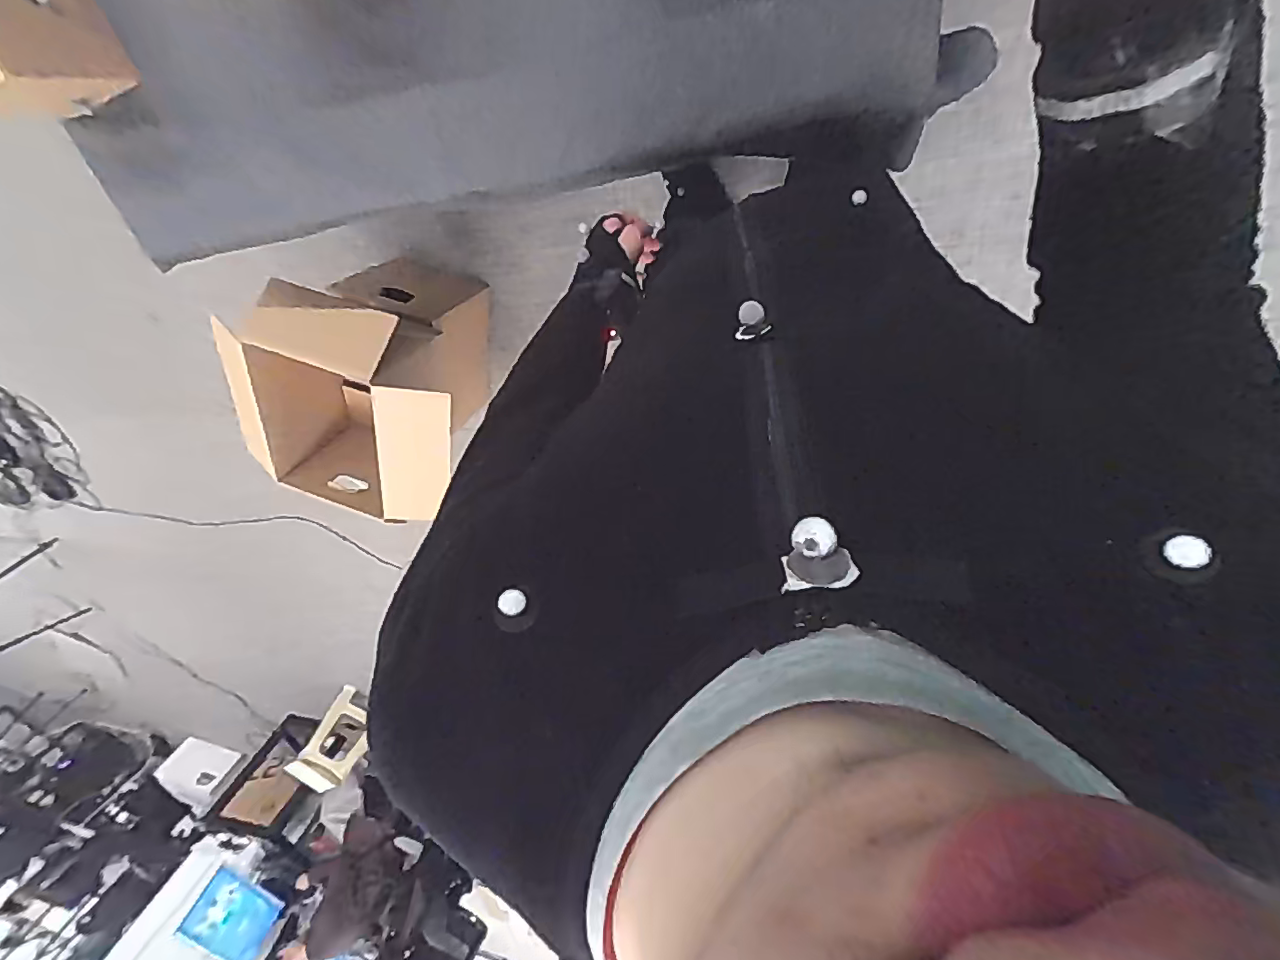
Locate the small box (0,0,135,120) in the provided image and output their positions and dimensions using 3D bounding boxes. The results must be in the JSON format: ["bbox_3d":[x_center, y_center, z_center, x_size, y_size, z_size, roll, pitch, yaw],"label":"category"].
[{"bbox_3d":[-0.805,-0.575,0.680,0.179,0.176,0.168,-5,123,20],"label":"small box"}]
